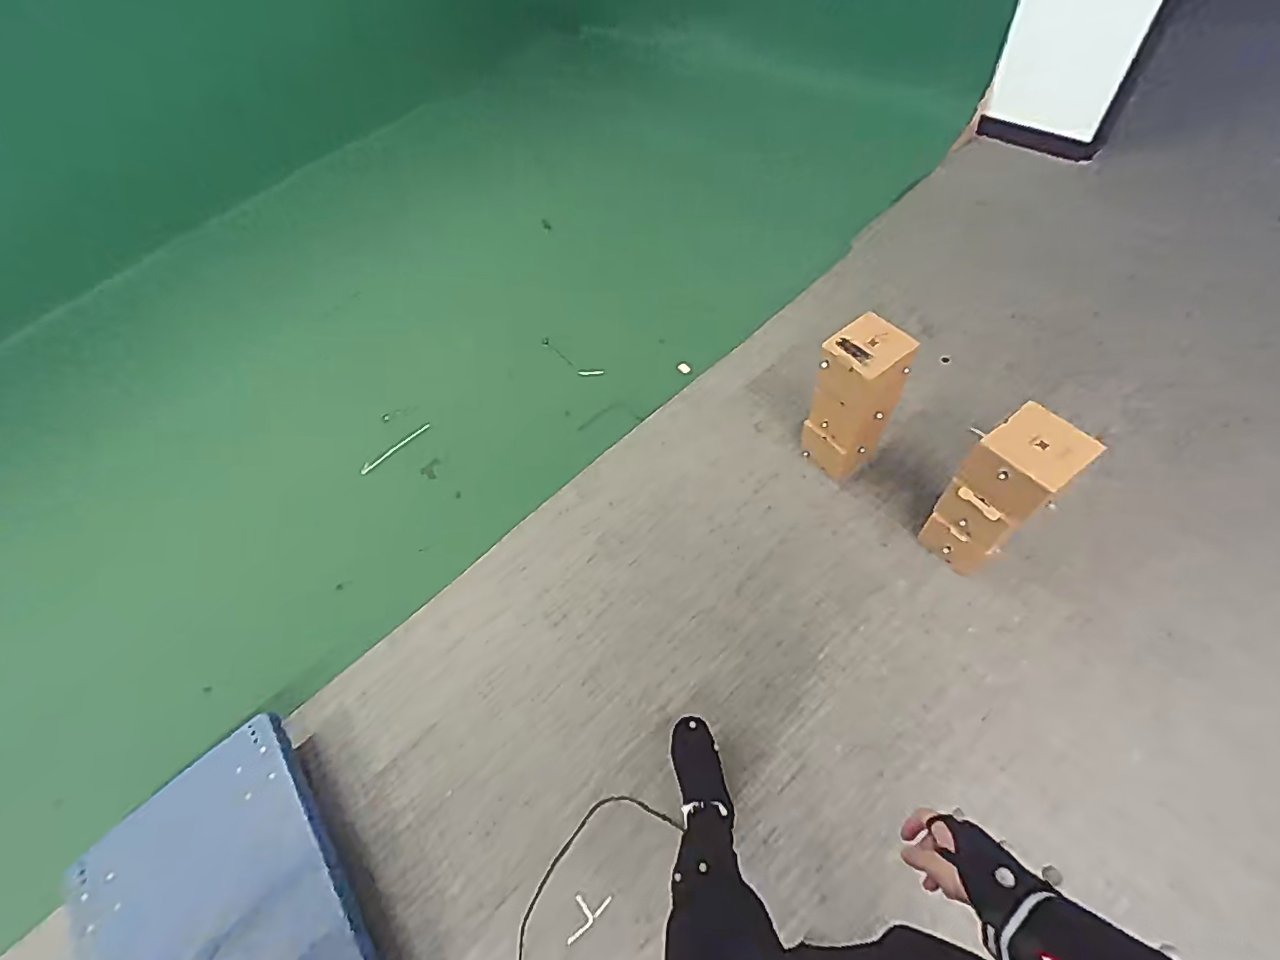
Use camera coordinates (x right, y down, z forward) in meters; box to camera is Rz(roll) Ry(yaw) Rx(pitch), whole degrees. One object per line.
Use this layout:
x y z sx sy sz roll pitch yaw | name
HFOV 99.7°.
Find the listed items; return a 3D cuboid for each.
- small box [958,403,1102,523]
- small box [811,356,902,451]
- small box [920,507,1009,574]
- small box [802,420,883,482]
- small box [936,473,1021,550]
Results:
0.865 -0.033 1.222 0.168 0.176 0.179 -35 59 -9 | small box
0.621 -0.220 1.577 0.179 0.176 0.168 -36 60 -10 | small box
0.910 0.132 1.502 0.179 0.176 0.168 -39 60 -11 | small box
0.637 -0.125 1.729 0.179 0.176 0.168 -35 61 -11 | small box
0.889 0.044 1.365 0.179 0.176 0.168 -34 59 -9 | small box
